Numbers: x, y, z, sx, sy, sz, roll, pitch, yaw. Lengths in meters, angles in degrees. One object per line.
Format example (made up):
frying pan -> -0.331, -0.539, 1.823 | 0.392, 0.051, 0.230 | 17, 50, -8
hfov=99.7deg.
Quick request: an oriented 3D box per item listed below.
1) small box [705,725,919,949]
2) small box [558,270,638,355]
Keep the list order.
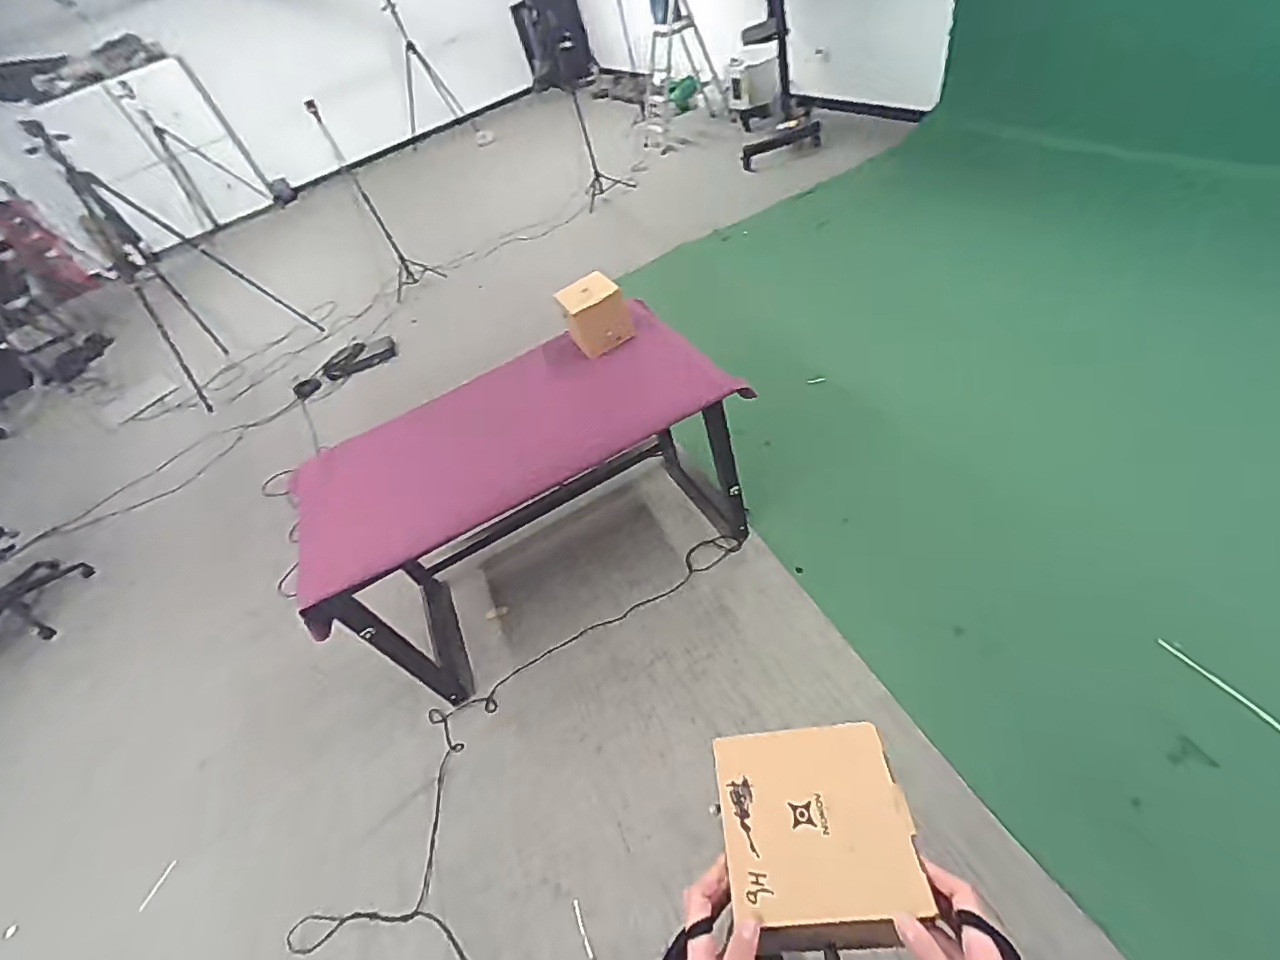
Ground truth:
small box -> 0.171, 0.388, 0.587 | 0.179, 0.176, 0.168 | -9, 41, 7
small box -> -0.129, -0.521, 1.695 | 0.168, 0.176, 0.179 | -32, 46, -5
